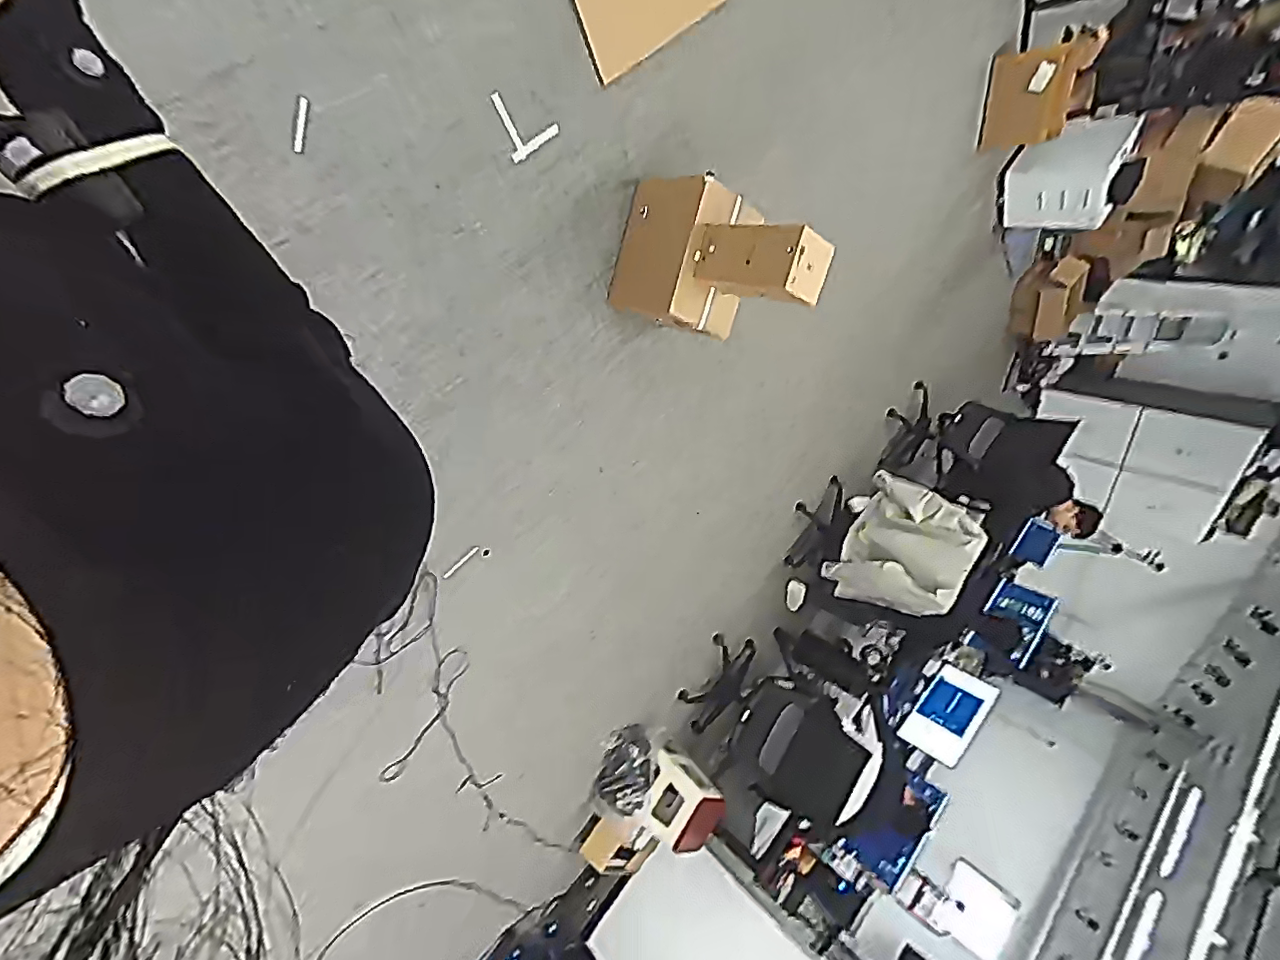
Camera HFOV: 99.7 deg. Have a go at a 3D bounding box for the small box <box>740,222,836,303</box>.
[{"bbox_3d":[0.412,-0.610,1.513,0.179,0.176,0.168,3,107,-46],"label":"small box"}]

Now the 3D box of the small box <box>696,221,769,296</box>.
[{"bbox_3d":[0.301,-0.666,1.622,0.179,0.176,0.168,4,107,-45],"label":"small box"}]
